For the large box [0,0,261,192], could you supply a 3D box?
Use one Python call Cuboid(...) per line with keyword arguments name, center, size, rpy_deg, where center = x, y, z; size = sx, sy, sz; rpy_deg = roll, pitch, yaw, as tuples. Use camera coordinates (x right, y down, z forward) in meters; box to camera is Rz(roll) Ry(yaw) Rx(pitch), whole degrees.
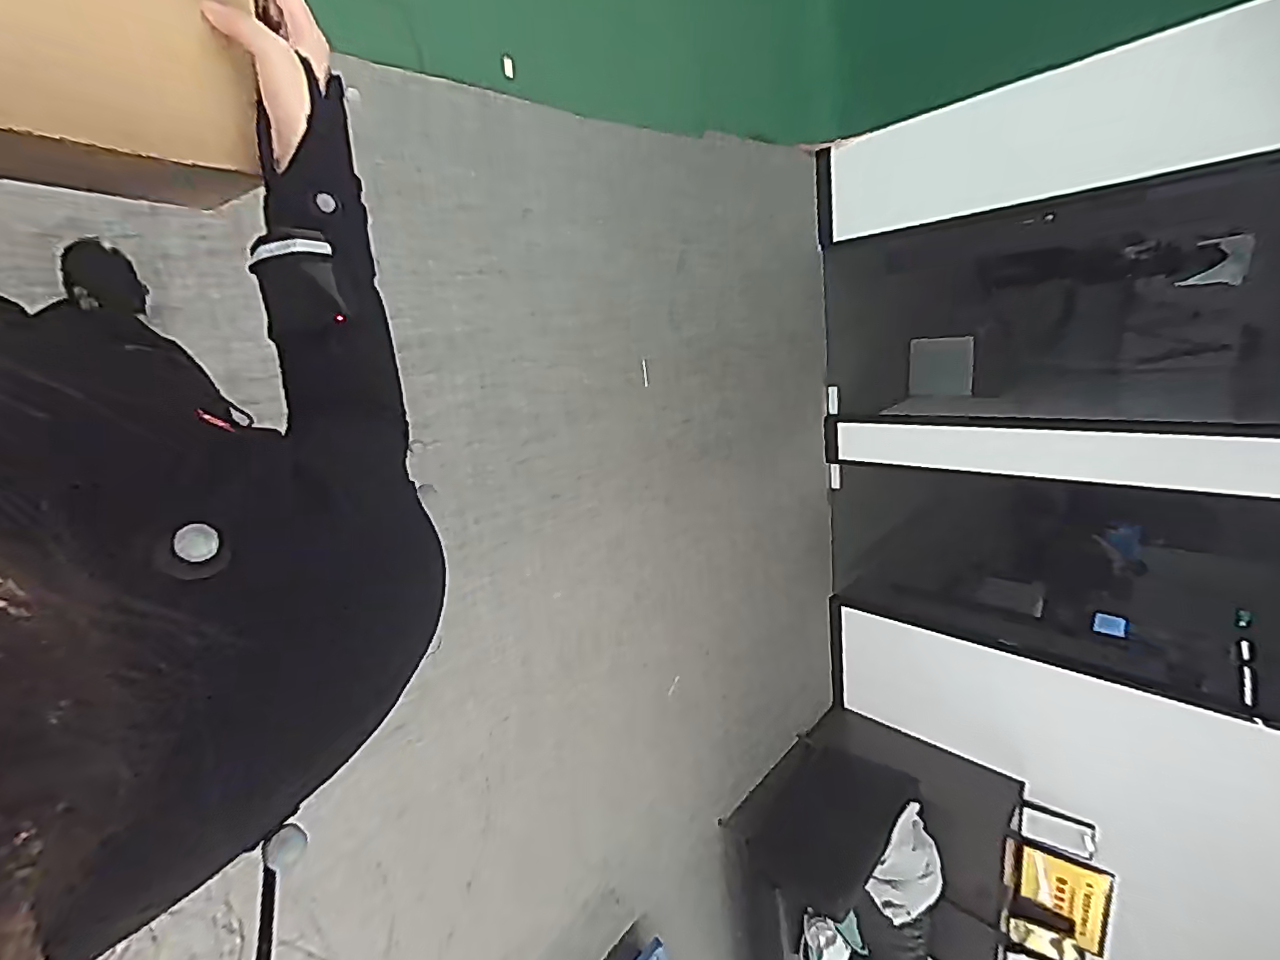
Cuboid(name="large box", center=(-0.527, -0.395, 0.345), size=(0.408, 0.320, 0.320), rpy_deg=(-12, 114, -41))
